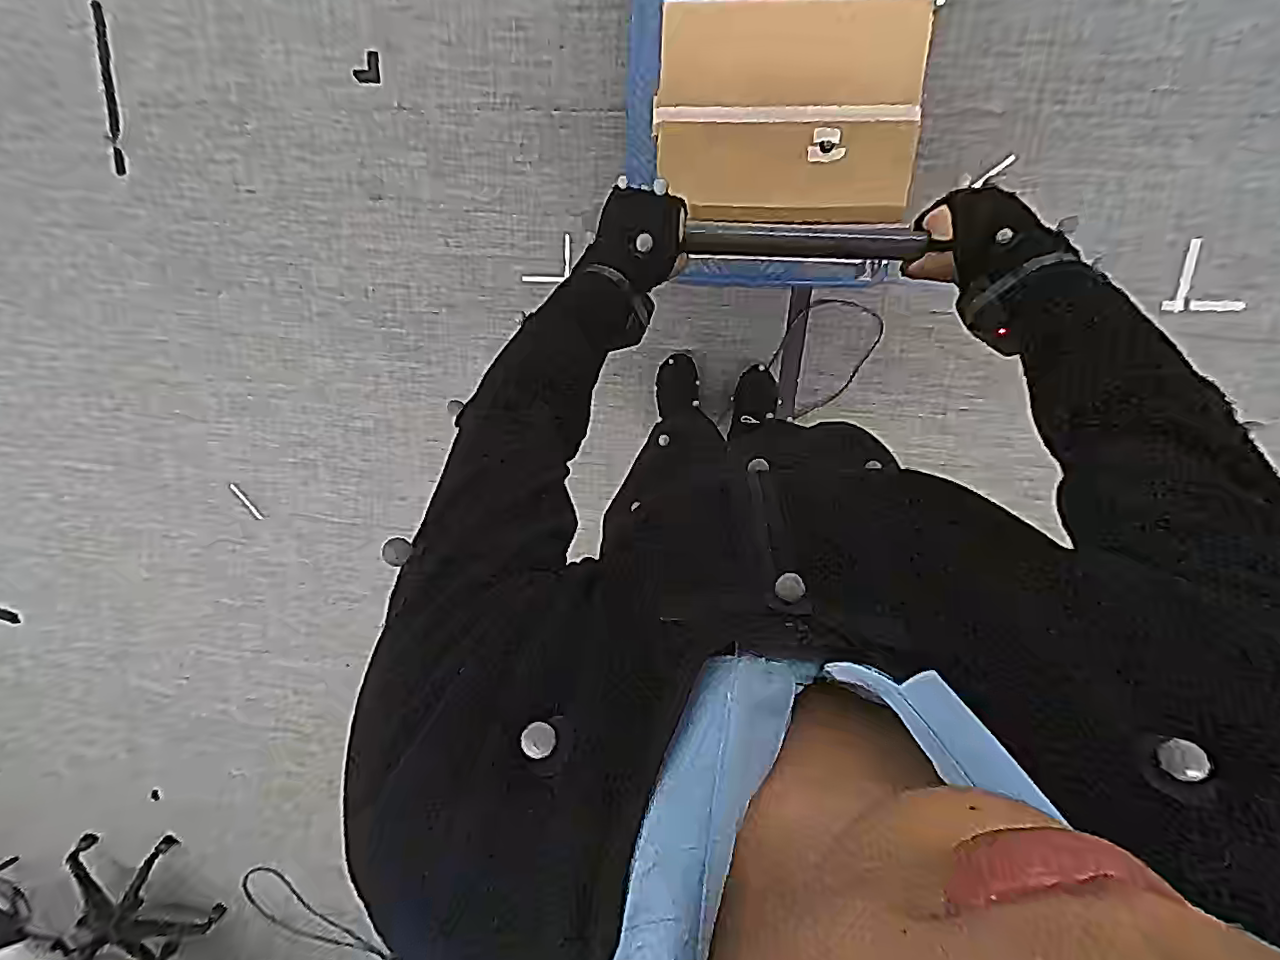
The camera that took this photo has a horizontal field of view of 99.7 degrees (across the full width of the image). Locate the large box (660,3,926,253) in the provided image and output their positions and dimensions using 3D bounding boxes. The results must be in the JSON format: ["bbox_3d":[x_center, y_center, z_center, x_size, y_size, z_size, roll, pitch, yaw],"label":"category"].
[{"bbox_3d":[0.245,-0.615,1.011,0.408,0.320,0.320,3,106,5],"label":"large box"}]
